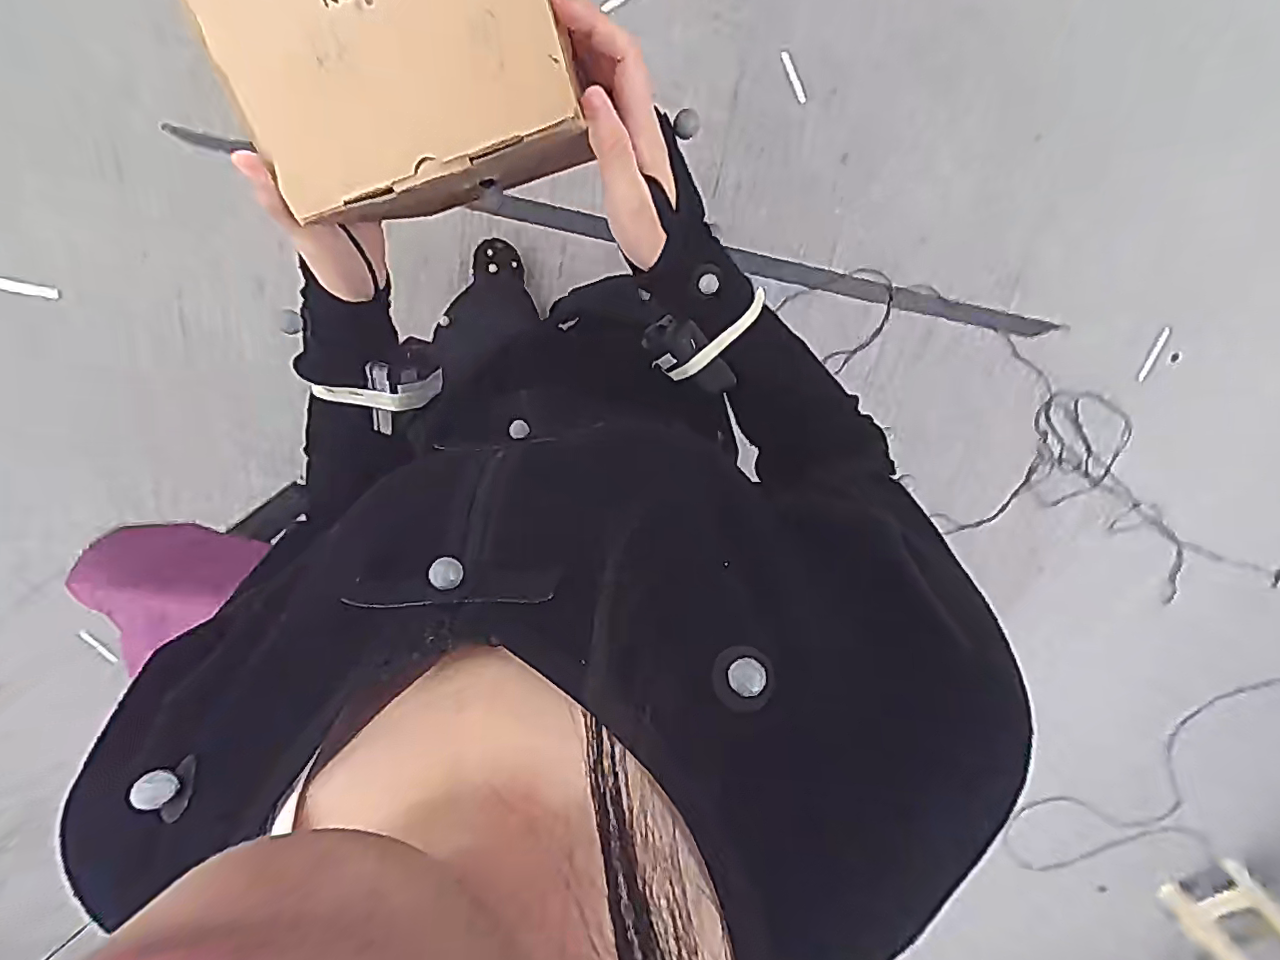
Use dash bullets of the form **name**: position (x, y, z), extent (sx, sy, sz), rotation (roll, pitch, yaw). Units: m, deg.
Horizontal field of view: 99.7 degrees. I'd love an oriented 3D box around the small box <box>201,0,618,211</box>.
- **small box**: position (-0.117, -0.271, 0.307), extent (0.168, 0.176, 0.179), rotation (-12, 116, 10)
